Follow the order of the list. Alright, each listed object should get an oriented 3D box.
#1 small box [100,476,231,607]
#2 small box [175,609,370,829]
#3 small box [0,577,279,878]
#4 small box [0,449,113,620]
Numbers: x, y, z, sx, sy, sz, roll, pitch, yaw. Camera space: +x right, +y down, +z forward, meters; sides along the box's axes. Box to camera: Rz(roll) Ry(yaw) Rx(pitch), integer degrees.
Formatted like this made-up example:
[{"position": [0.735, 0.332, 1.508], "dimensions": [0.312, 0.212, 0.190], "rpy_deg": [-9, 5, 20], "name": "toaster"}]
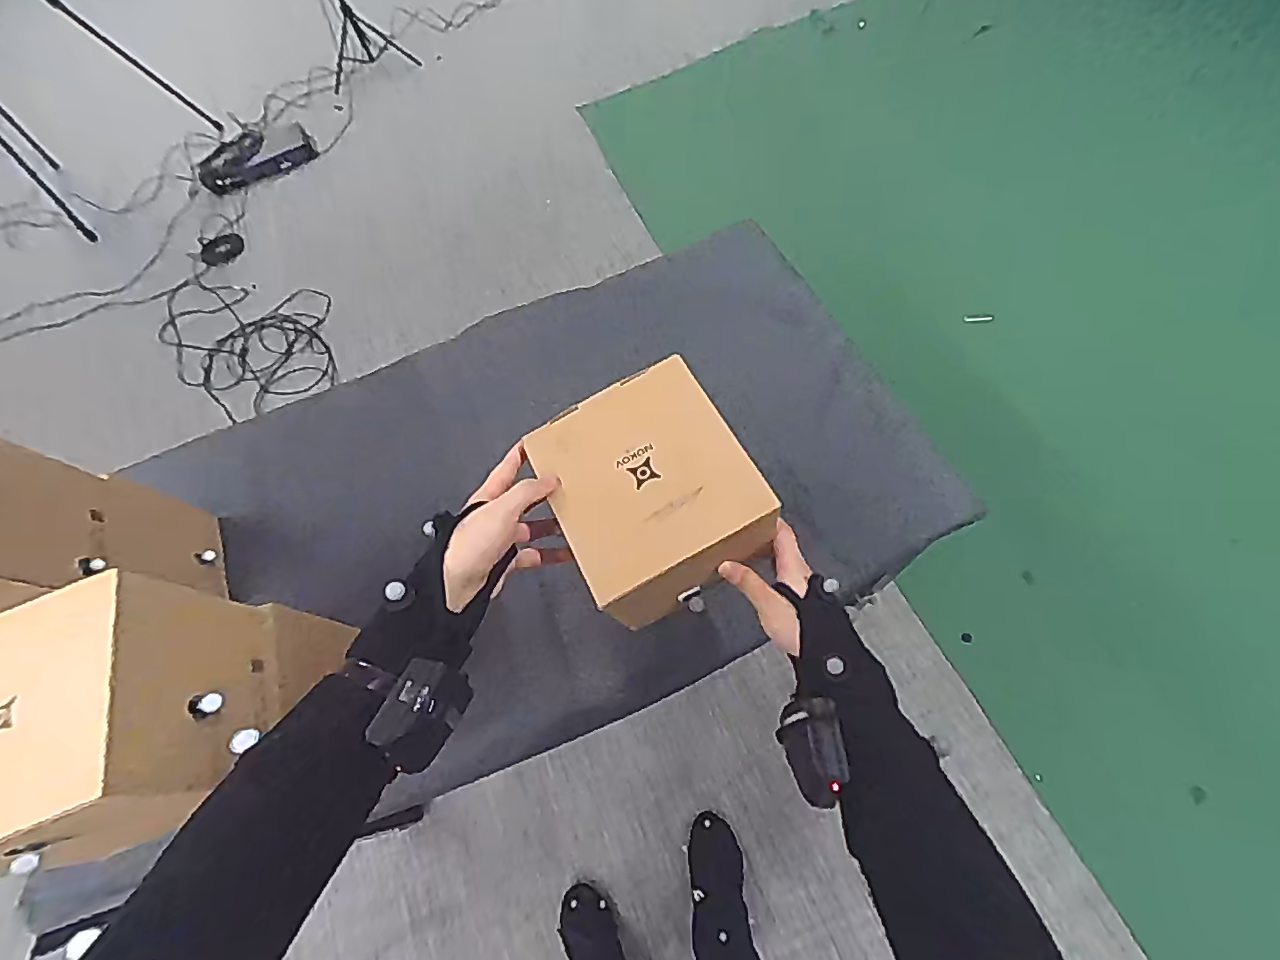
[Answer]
[{"position": [-0.677, 0.130, 0.702], "dimensions": [0.168, 0.176, 0.179], "rpy_deg": [-27, 65, -5], "name": "small box"}, {"position": [-0.424, 0.263, 0.599], "dimensions": [0.179, 0.176, 0.168], "rpy_deg": [-22, 63, -2], "name": "small box"}, {"position": [-0.434, 0.203, 0.448], "dimensions": [0.179, 0.176, 0.168], "rpy_deg": [-23, 64, -2], "name": "small box"}, {"position": [-0.691, 0.075, 0.547], "dimensions": [0.179, 0.176, 0.168], "rpy_deg": [-27, 65, -4], "name": "small box"}]
